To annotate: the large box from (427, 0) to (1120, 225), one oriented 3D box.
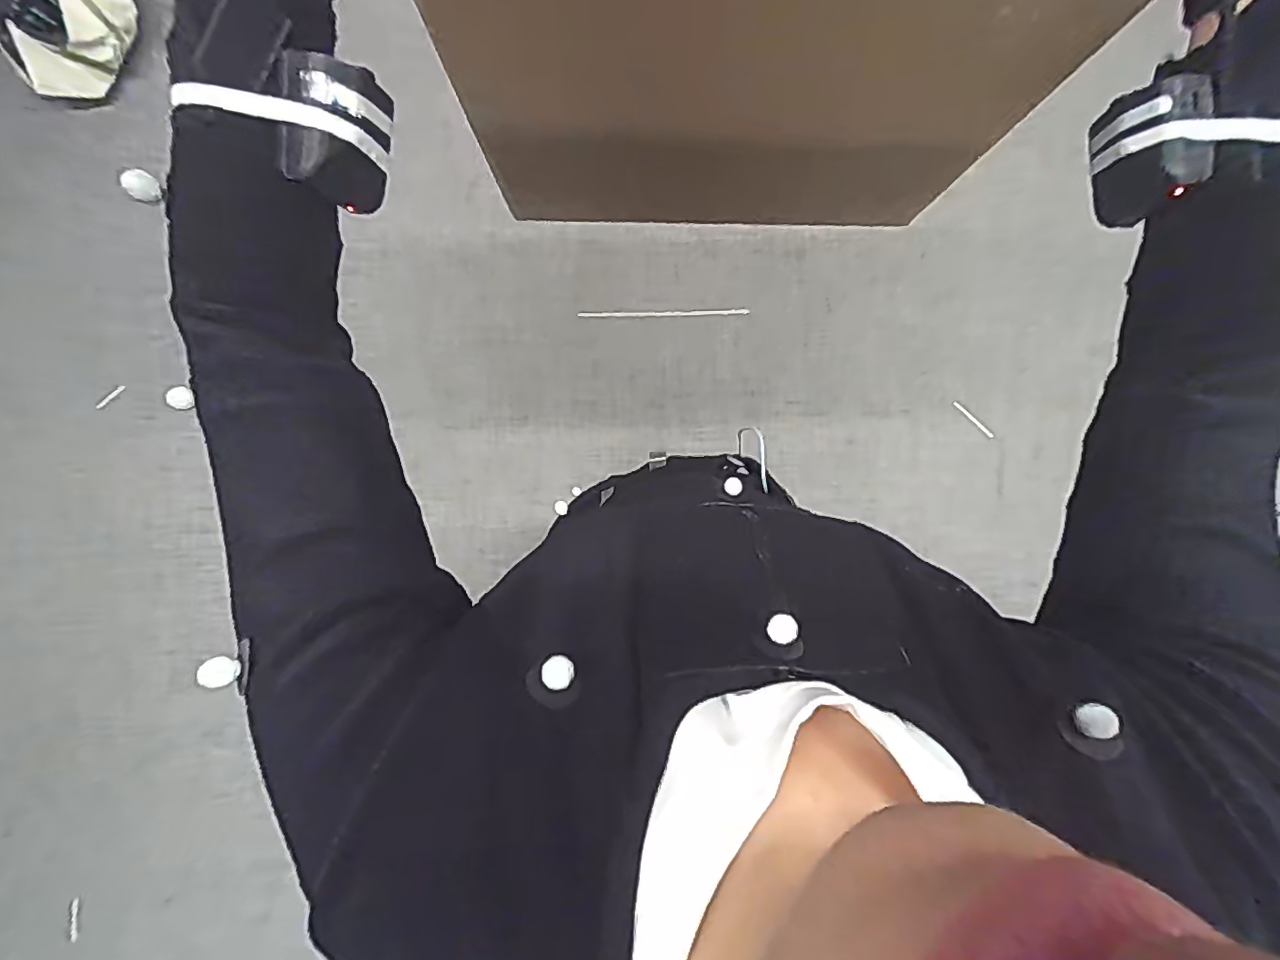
[{"bbox_3d":[0.072,-0.414,0.406,0.408,0.320,0.320,0,91,-1],"label":"large box"}]
